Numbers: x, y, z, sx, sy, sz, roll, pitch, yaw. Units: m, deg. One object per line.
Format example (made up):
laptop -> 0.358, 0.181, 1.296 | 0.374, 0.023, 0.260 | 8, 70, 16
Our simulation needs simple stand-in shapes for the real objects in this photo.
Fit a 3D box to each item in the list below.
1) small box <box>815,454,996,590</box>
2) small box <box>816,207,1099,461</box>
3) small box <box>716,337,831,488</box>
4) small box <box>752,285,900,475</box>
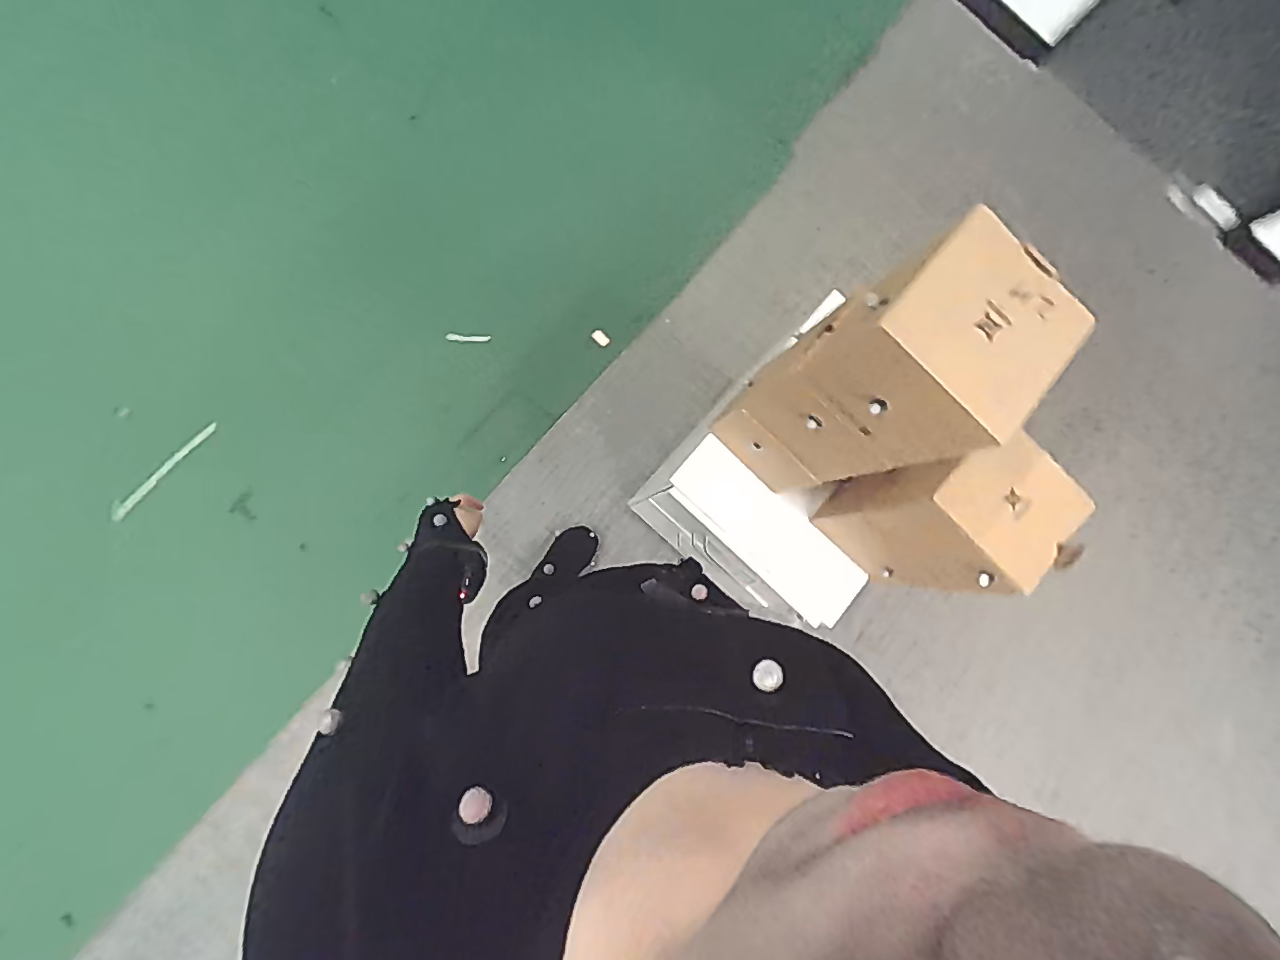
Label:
small box -> 0.439, 0.063, 0.918 | 0.179, 0.176, 0.168 | 43, 78, 0
small box -> 0.320, -0.139, 0.586 | 0.168, 0.176, 0.179 | 43, 79, -4
small box -> 0.255, -0.100, 0.907 | 0.179, 0.176, 0.168 | 44, 79, -4
small box -> 0.285, -0.122, 0.746 | 0.179, 0.176, 0.168 | 43, 79, -4
